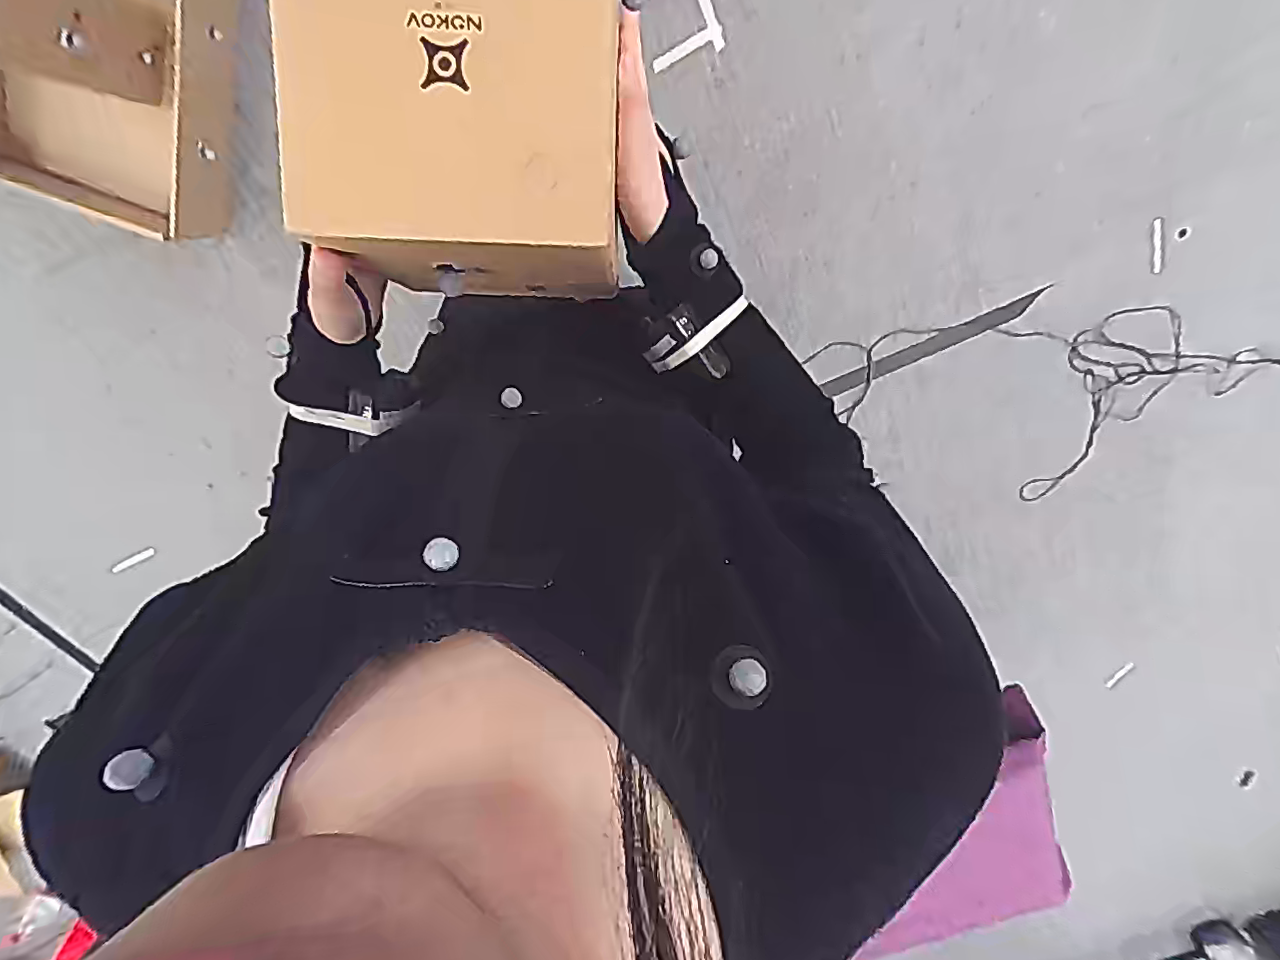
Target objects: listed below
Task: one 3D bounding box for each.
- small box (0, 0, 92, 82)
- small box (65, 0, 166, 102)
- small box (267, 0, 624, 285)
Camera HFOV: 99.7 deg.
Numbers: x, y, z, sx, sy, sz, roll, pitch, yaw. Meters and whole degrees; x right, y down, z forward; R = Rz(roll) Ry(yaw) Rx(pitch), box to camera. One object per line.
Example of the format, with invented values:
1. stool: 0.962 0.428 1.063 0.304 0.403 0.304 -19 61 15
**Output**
1. small box: -0.996 -0.740 0.816 0.179 0.176 0.168 19 114 -14
2. small box: -1.006 -0.809 0.962 0.179 0.176 0.168 21 113 -14
3. small box: -0.096 -0.227 0.337 0.168 0.176 0.179 2 98 -2
